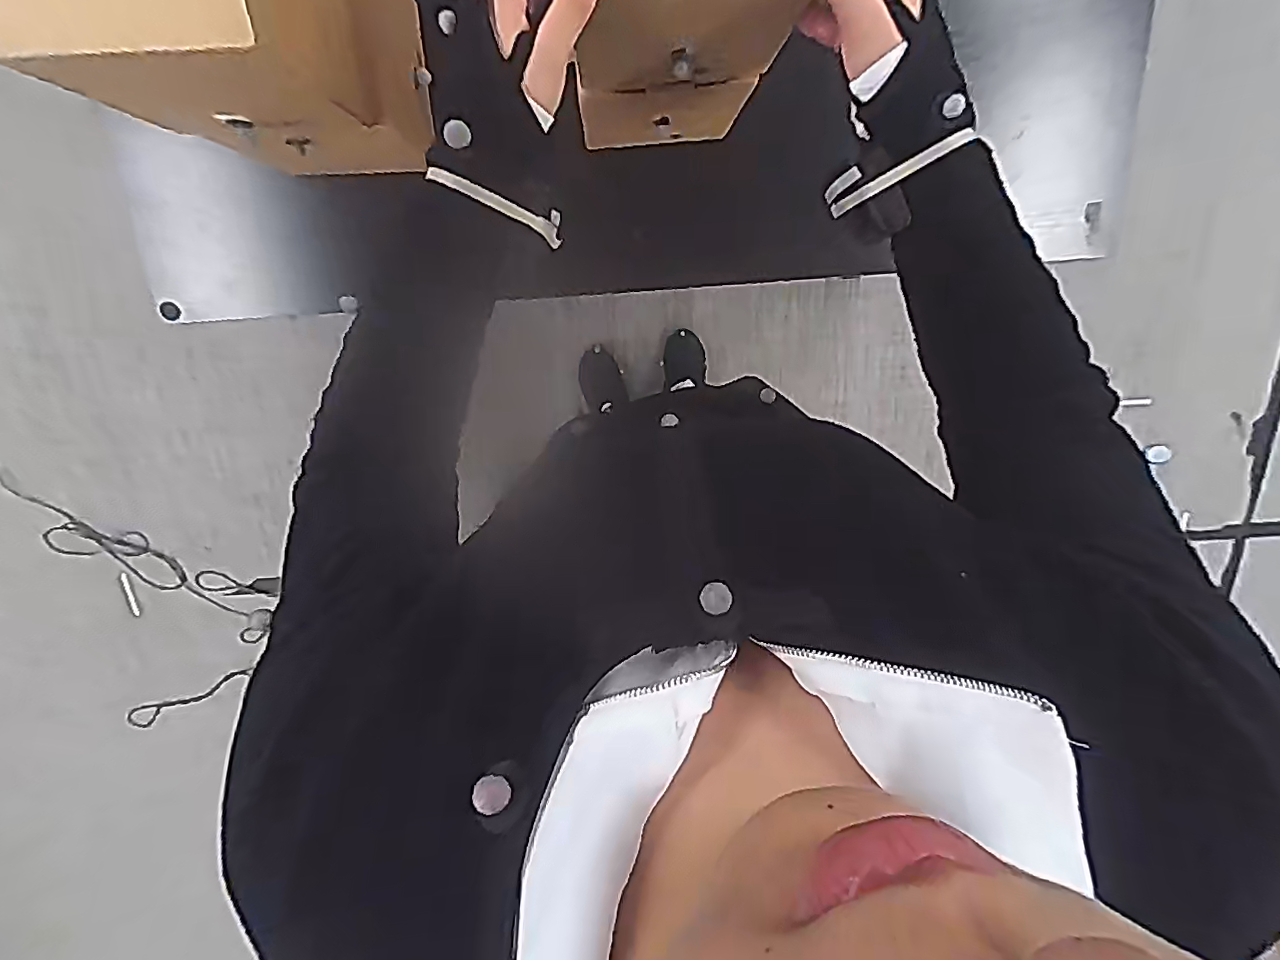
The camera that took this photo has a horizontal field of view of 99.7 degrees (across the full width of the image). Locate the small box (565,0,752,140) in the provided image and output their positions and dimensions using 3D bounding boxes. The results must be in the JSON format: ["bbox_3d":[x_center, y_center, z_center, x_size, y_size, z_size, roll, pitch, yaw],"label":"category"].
[{"bbox_3d":[0.013,-0.459,0.539,0.168,0.176,0.179,-6,107,-1],"label":"small box"}]

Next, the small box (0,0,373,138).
[{"bbox_3d":[-0.318,-0.368,0.380,0.168,0.176,0.179,-4,108,0],"label":"small box"}]

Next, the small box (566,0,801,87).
[{"bbox_3d":[0.023,-0.415,0.378,0.168,0.176,0.179,-6,107,0],"label":"small box"}]

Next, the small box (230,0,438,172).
[{"bbox_3d":[-0.322,-0.417,0.535,0.179,0.176,0.168,-4,107,-3],"label":"small box"}]
